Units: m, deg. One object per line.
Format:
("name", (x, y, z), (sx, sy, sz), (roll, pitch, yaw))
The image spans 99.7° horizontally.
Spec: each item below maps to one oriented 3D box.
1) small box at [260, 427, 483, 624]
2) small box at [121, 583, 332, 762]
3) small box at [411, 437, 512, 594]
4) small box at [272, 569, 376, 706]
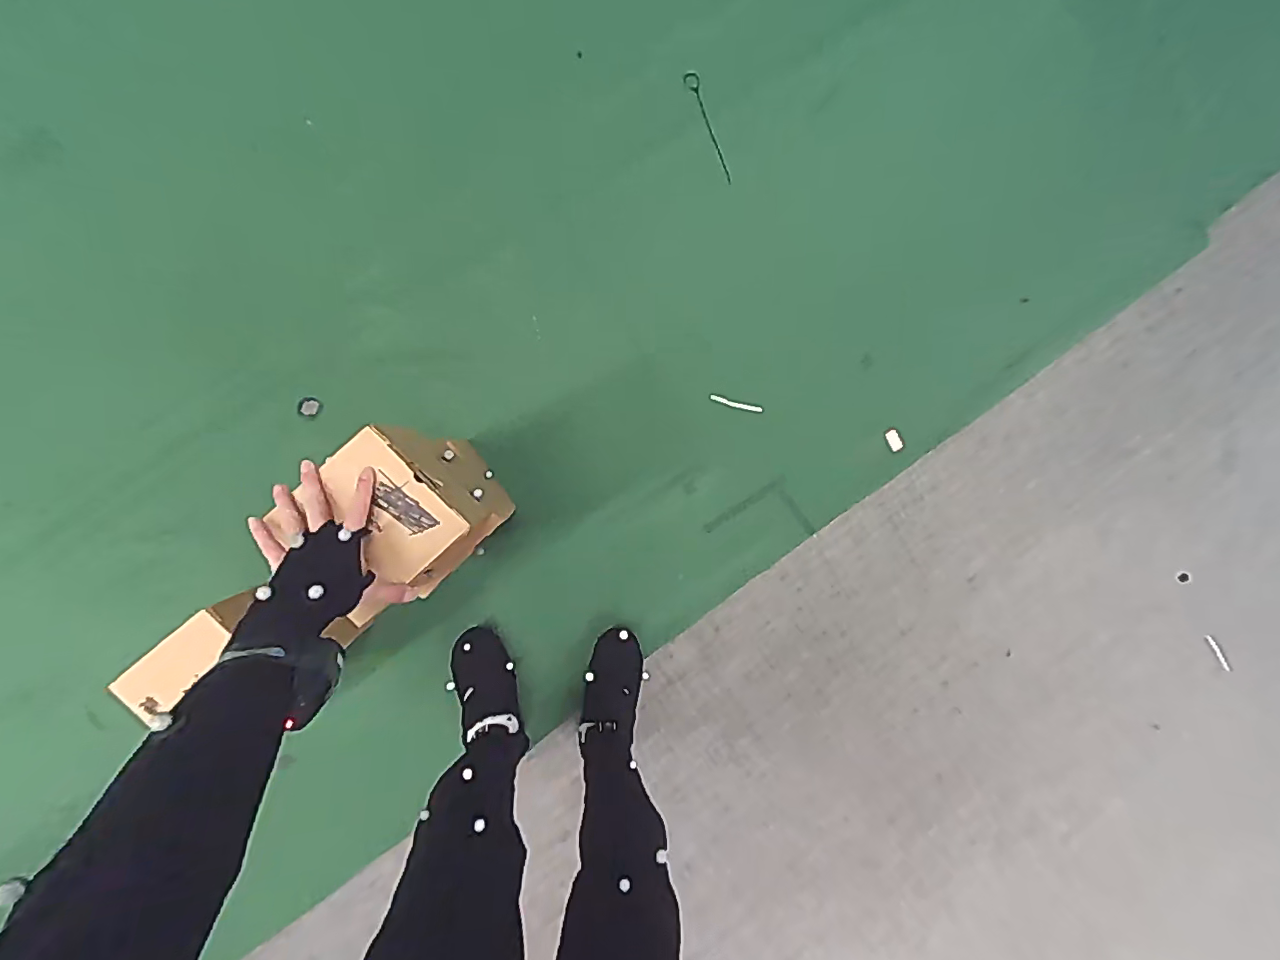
("small box", (-0.326, 0.048, 0.704), (0.179, 0.176, 0.168), (-43, 96, -2))
("small box", (-0.628, 0.289, 0.856), (0.179, 0.176, 0.168), (-40, 96, -2))
("small box", (-0.330, 0.050, 0.870), (0.179, 0.176, 0.168), (45, 89, -7))
("small box", (-0.640, 0.277, 1.019), (0.168, 0.176, 0.179), (-38, 96, -2))
